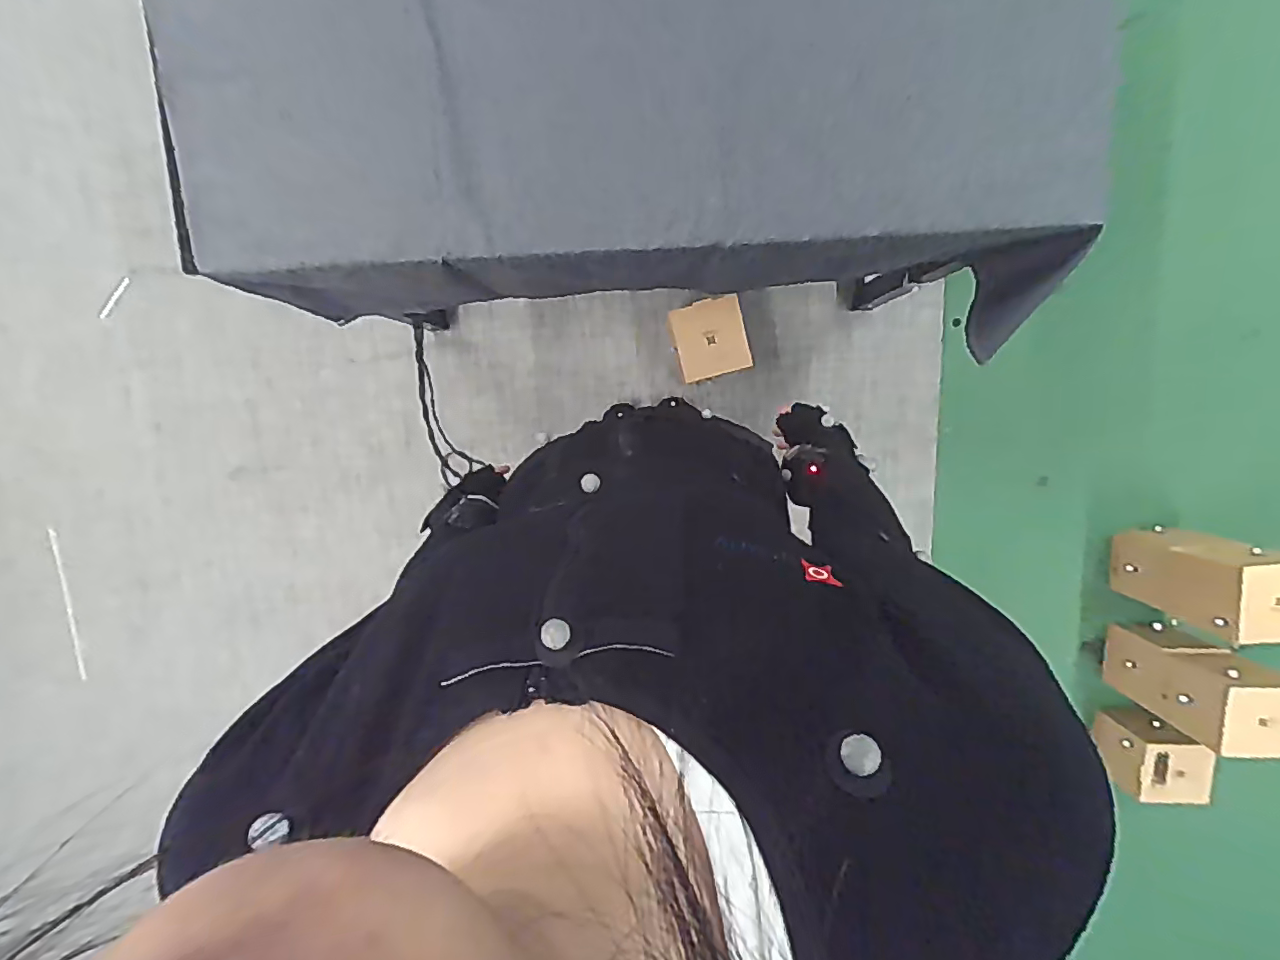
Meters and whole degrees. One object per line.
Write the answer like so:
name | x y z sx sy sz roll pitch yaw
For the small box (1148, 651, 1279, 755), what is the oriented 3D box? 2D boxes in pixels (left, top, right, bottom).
small box | 1.353 0.515 1.265 0.179 0.176 0.168 -1 99 2

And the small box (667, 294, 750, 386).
small box | 0.163 -0.341 1.346 0.168 0.176 0.179 -14 97 4

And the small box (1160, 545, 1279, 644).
small box | 1.342 0.250 1.228 0.168 0.176 0.179 -4 98 2
